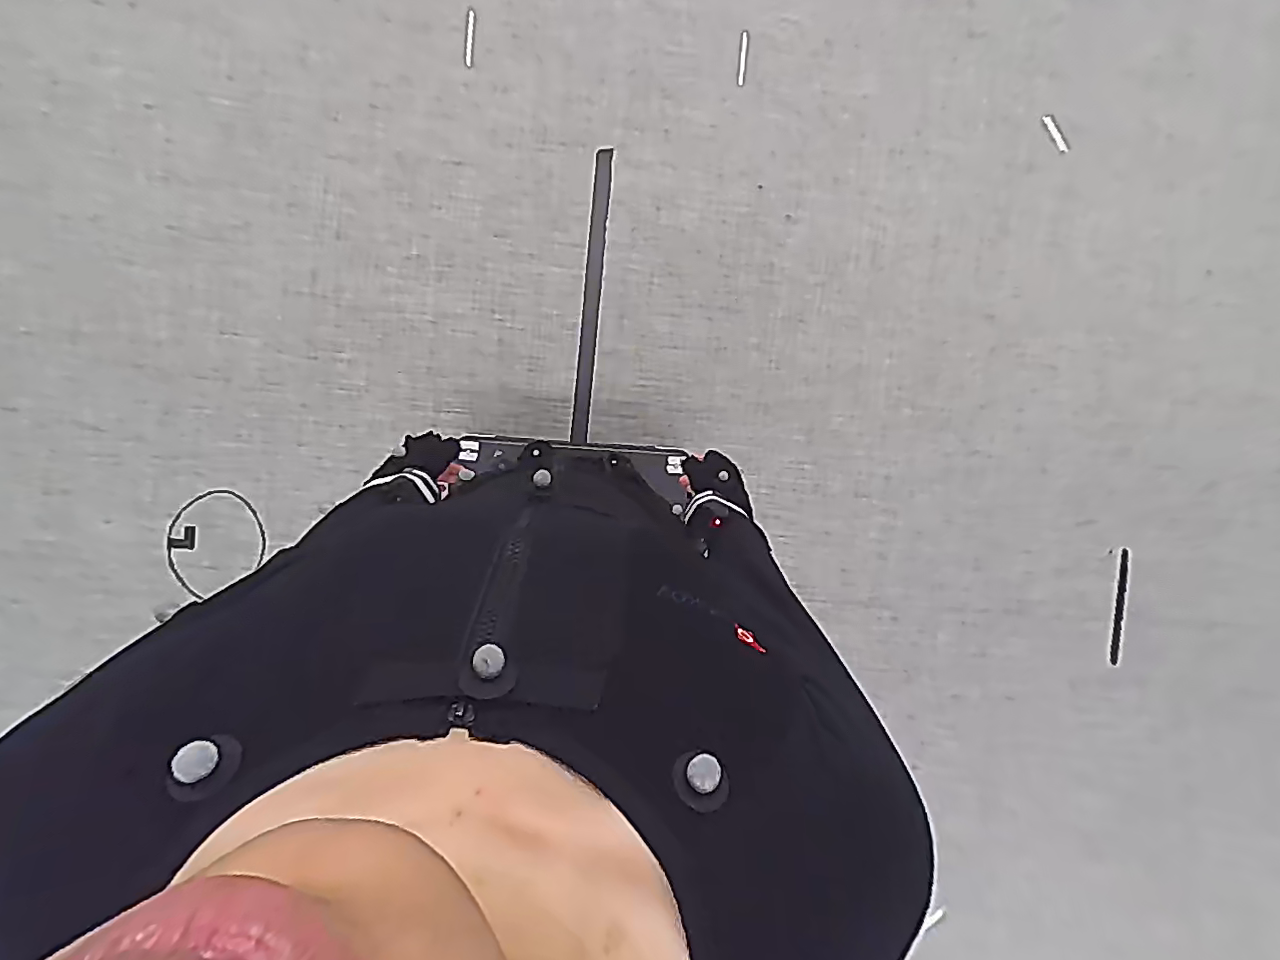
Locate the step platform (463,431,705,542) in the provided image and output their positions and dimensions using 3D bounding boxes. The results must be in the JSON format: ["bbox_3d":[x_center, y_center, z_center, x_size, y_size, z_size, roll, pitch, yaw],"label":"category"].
[{"bbox_3d":[-0.156,0.017,1.570,0.684,0.204,0.286,3,93,-5],"label":"step platform"}]
